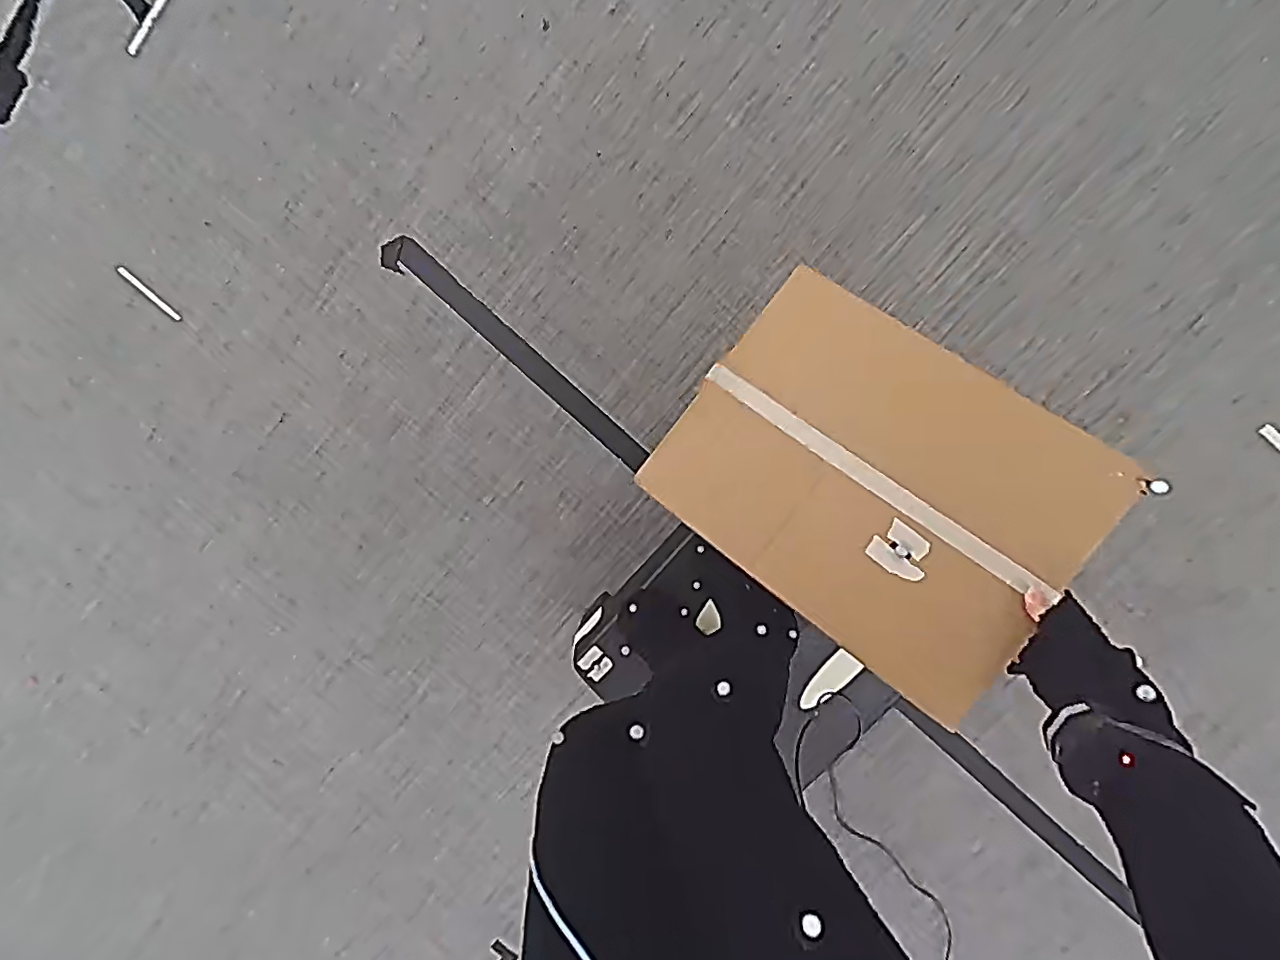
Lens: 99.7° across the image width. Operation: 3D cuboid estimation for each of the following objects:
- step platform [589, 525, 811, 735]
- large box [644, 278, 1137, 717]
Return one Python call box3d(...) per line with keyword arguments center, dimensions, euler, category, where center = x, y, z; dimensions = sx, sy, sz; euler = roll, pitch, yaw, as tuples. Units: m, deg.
box3d(center=(0.204, 0.146, 1.032), dimensions=(0.286, 0.204, 0.684), euler=(39, 98, -4), category="step platform")
box3d(center=(0.272, 0.020, 0.720), dimensions=(0.408, 0.320, 0.320), euler=(38, 91, 13), category="large box")
